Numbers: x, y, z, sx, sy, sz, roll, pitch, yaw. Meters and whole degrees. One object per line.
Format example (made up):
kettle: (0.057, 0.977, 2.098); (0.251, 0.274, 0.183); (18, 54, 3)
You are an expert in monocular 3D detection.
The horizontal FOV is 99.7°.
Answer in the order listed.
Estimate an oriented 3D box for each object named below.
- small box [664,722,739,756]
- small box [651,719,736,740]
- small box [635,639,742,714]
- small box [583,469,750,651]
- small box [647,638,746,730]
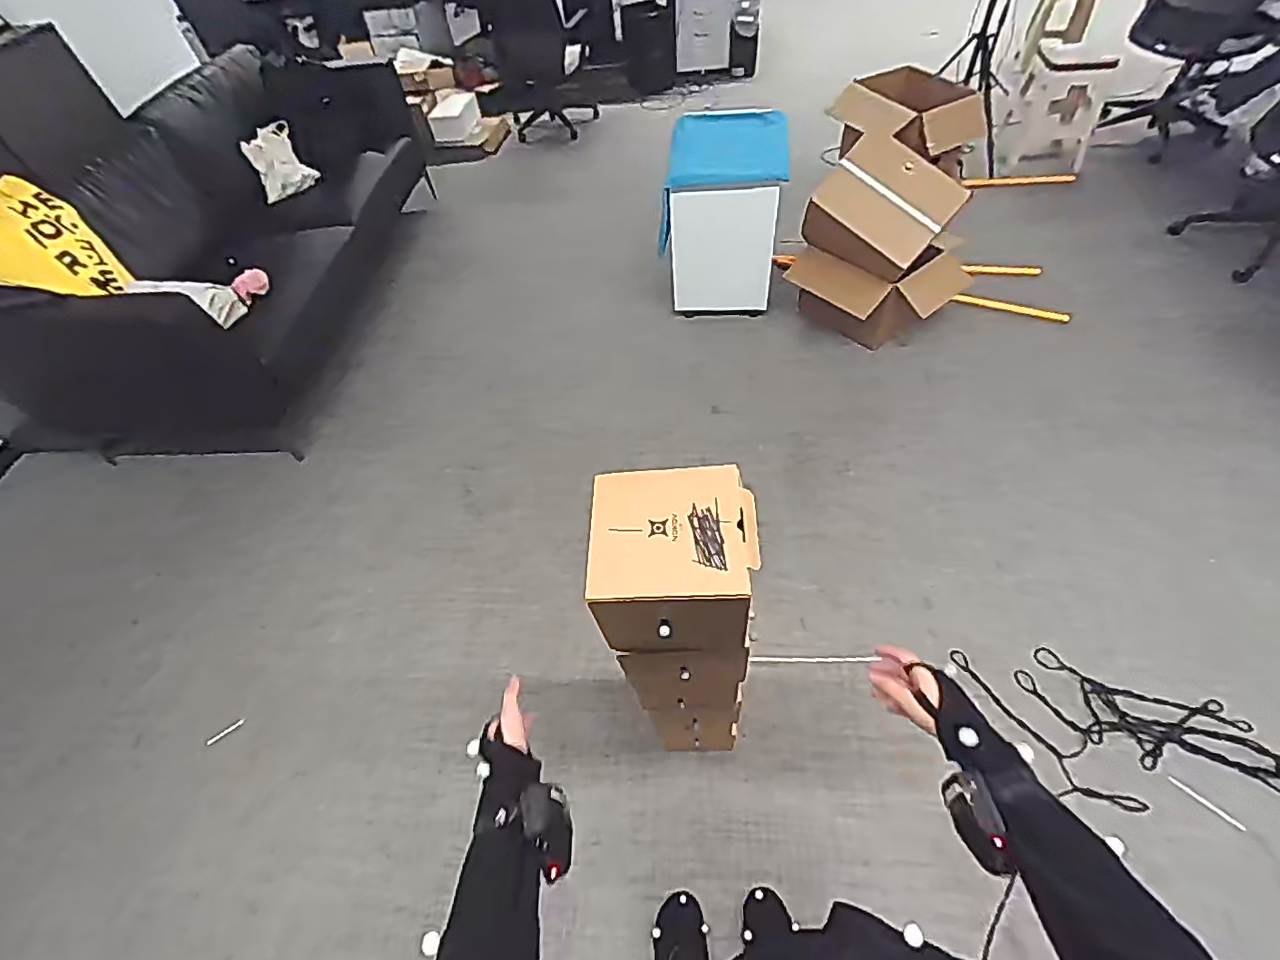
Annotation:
small box: (0.150, 0.574, 1.330); (0.179, 0.176, 0.168); (-2, 52, 6)
small box: (0.121, 0.474, 1.203); (0.179, 0.176, 0.168); (-2, 53, 6)
small box: (0.083, 0.291, 0.936); (0.168, 0.176, 0.179); (-4, 53, 5)
small box: (0.039, 0.104, 0.669); (0.179, 0.176, 0.168); (-4, 54, 8)
small box: (0.107, 0.386, 1.066); (0.179, 0.176, 0.168); (-4, 52, 5)
